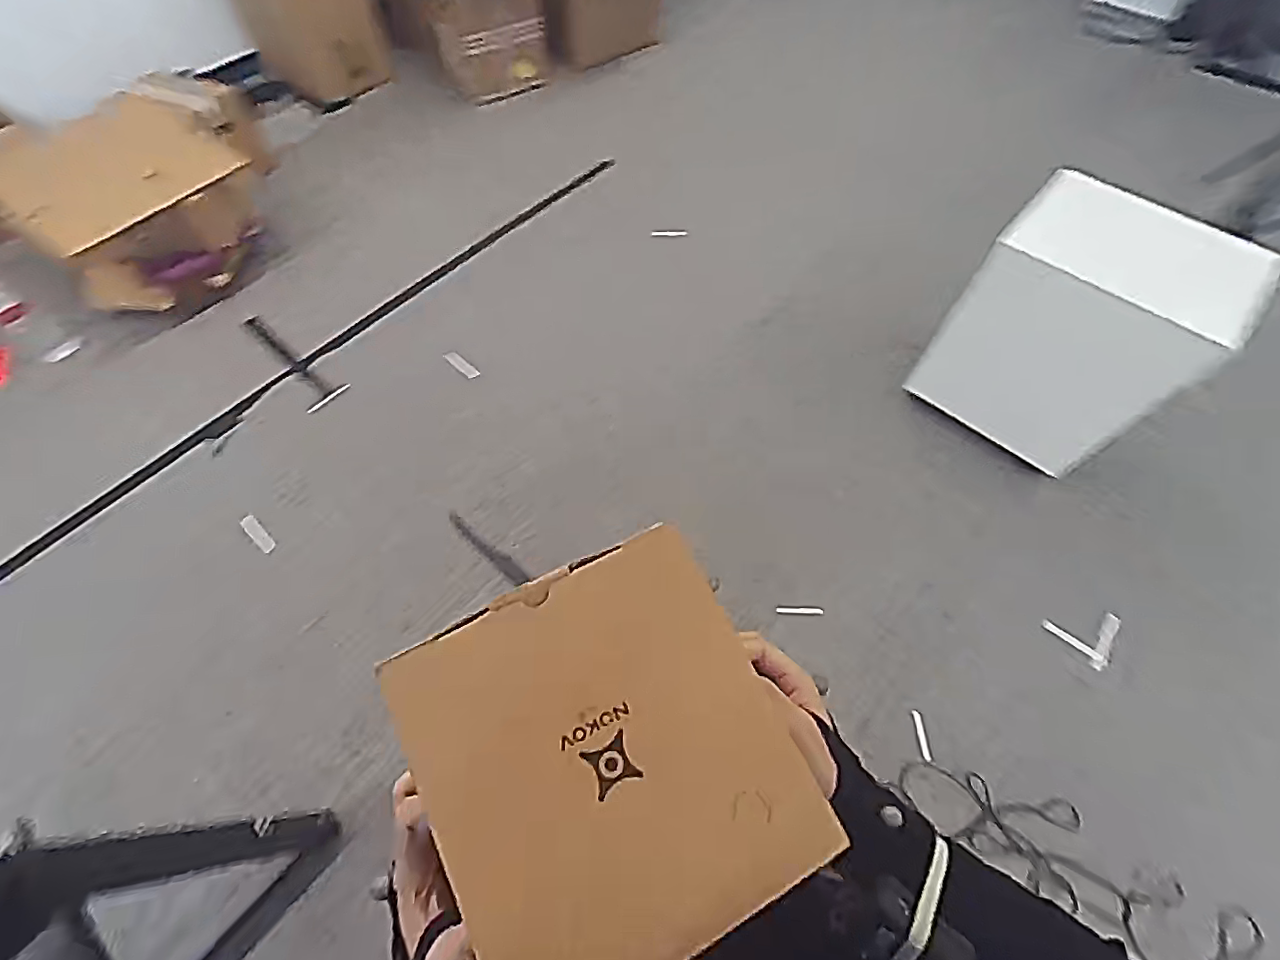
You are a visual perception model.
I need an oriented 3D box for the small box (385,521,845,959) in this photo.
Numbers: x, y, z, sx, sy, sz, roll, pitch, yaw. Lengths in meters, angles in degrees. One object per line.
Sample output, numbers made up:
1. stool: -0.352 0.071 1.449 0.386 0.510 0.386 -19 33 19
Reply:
1. small box: -0.018 0.151 0.330 0.168 0.176 0.179 -25 74 -13
